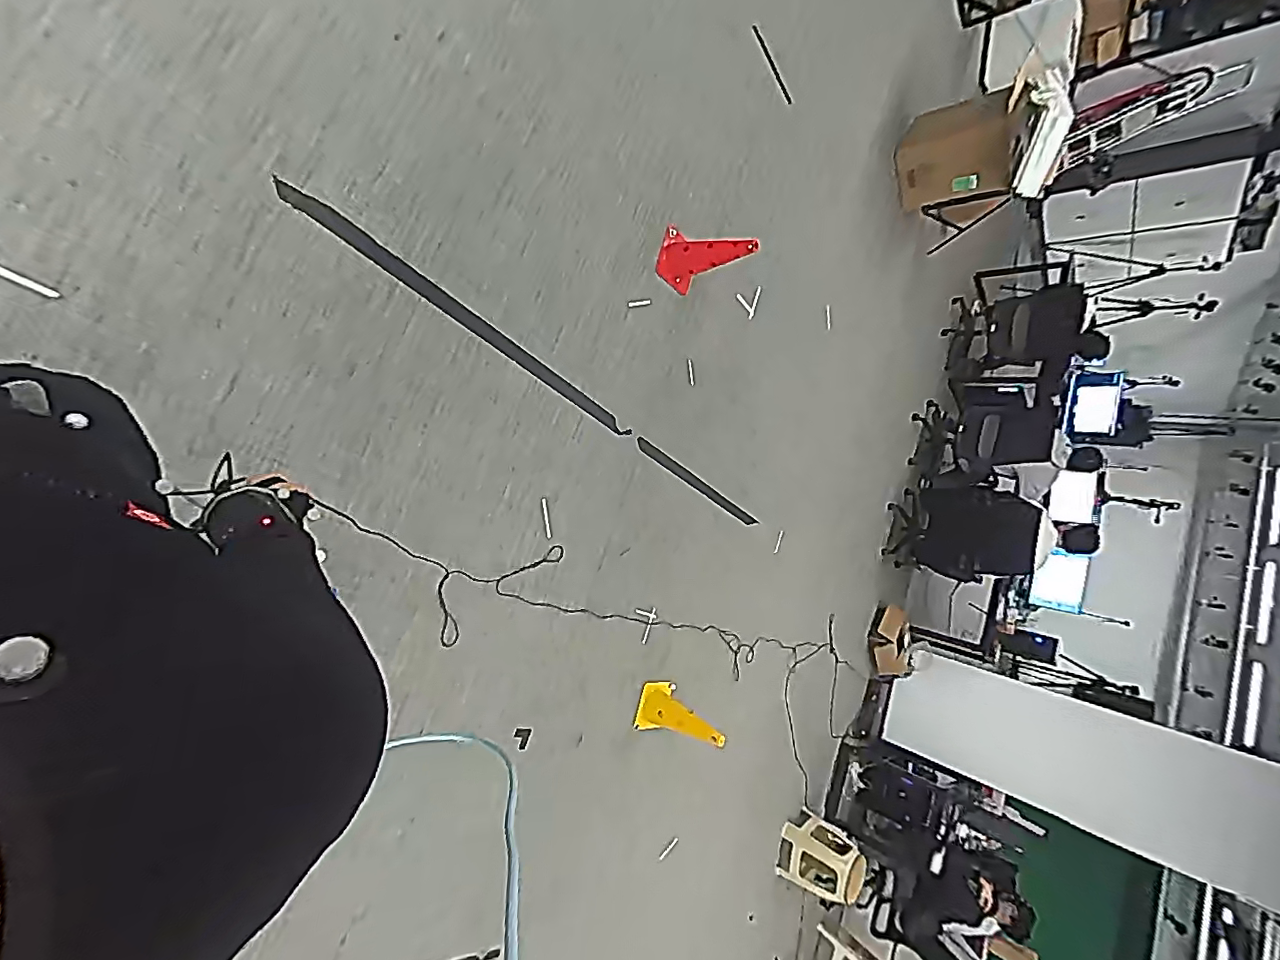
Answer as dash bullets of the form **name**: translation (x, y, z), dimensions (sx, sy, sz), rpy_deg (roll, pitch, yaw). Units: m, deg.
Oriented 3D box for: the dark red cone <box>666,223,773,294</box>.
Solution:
- **dark red cone**: translation (0.296, -0.817, 1.953), dimensions (0.202, 0.394, 0.201), rpy_deg (21, 83, -47)
